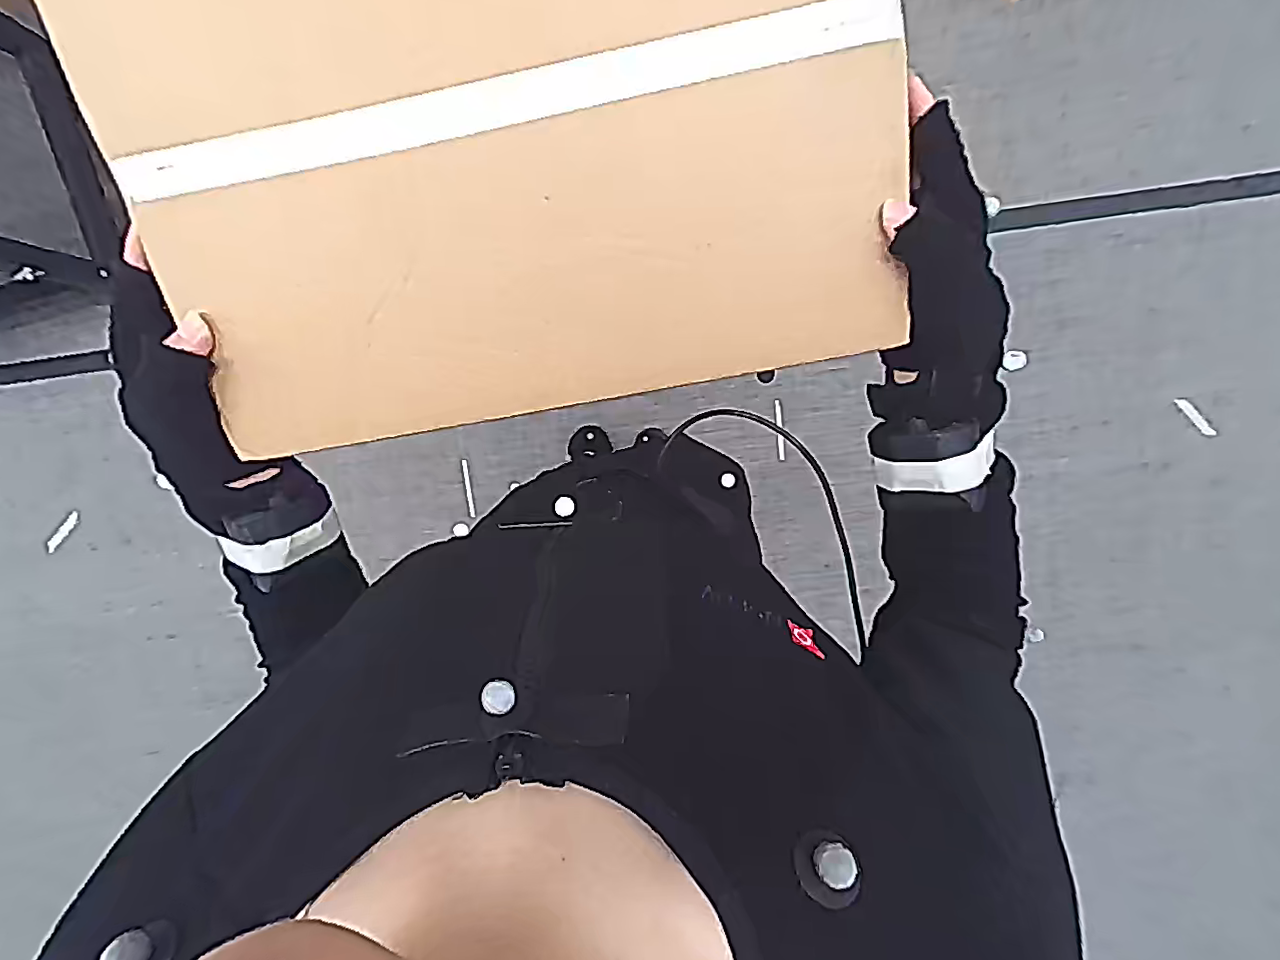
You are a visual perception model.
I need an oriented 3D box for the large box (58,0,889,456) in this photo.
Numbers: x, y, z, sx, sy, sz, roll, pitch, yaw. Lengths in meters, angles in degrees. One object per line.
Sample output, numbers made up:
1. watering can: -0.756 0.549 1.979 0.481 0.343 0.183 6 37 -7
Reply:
1. large box: -0.073 -0.240 0.423 0.408 0.320 0.320 -10 108 4
